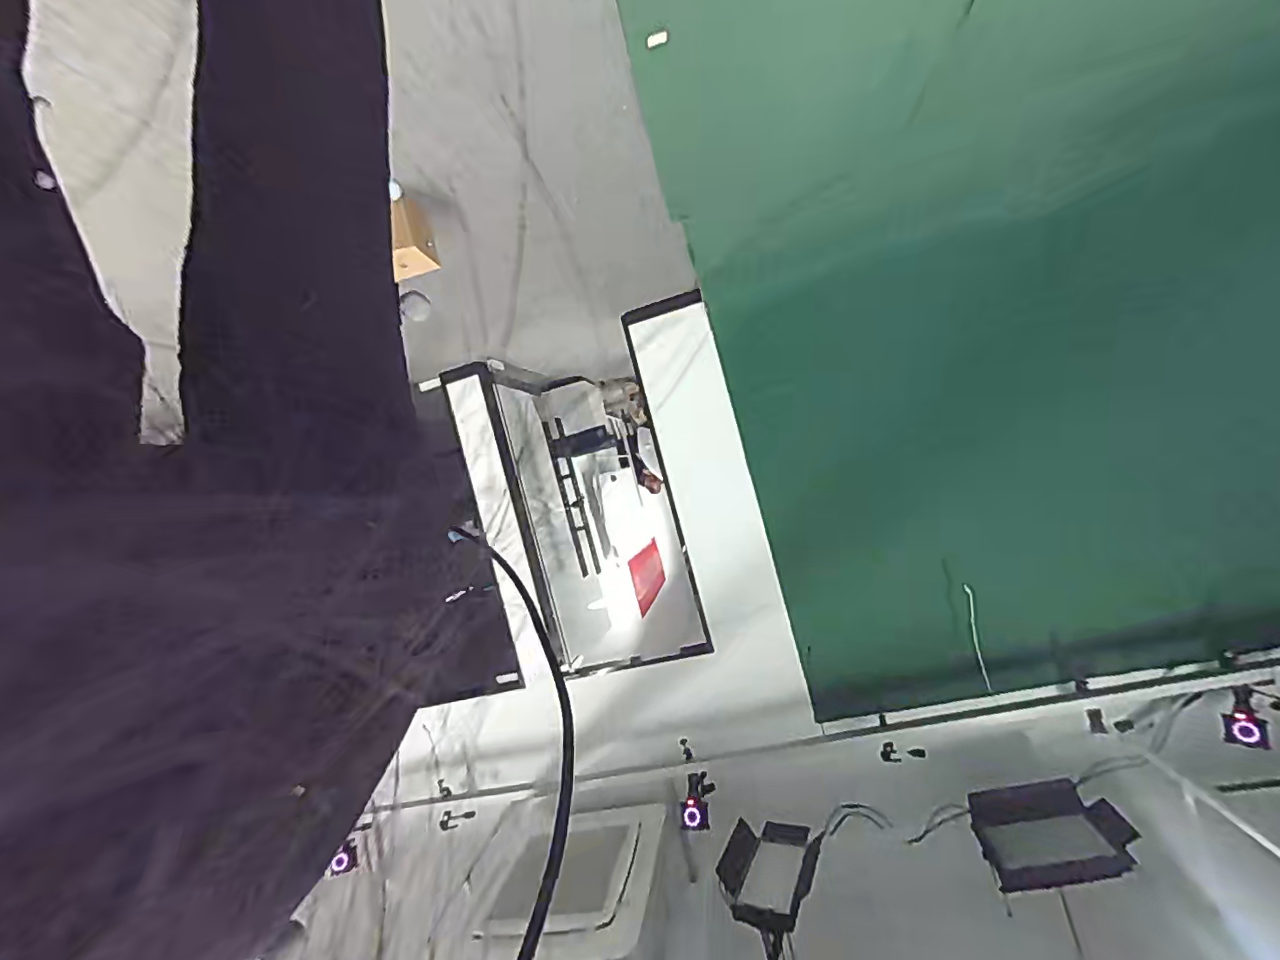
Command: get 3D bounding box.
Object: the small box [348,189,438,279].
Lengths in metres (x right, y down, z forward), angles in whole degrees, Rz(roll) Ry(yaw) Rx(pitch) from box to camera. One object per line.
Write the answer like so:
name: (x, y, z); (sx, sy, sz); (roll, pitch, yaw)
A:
small box: (-0.733, -0.730, 1.614); (0.168, 0.176, 0.179); (-15, 180, 5)
